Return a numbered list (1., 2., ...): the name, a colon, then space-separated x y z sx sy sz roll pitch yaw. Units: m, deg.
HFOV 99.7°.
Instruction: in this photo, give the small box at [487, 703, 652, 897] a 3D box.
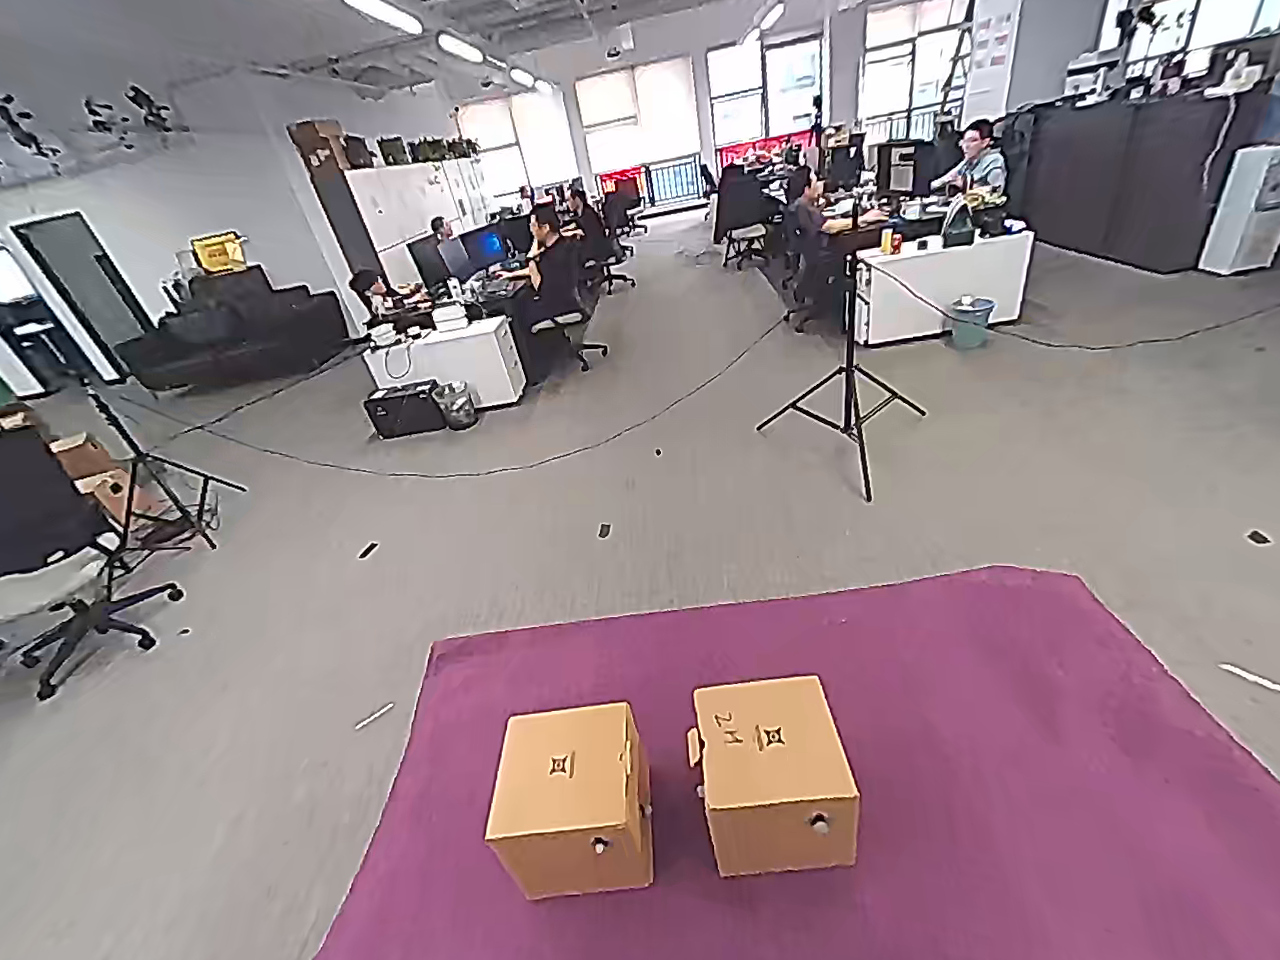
1. small box: -0.085 0.439 0.744 0.179 0.176 0.168 -9 31 3
